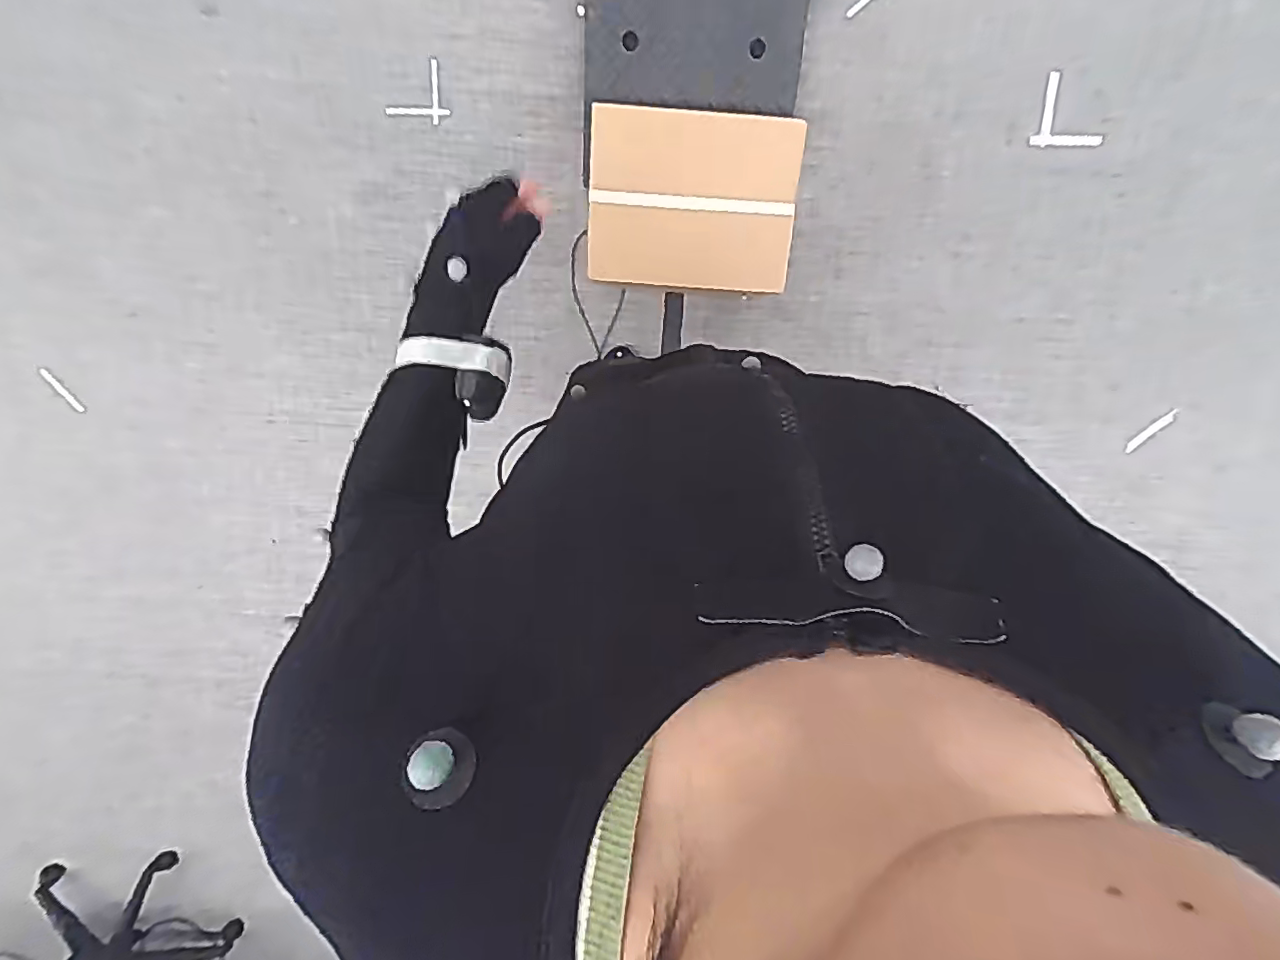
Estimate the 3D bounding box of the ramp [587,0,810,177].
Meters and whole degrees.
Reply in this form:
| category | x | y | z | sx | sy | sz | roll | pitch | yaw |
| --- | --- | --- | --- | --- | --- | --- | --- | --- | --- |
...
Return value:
| category | x | y | z | sx | sy | sz | roll | pitch | yaw |
| --- | --- | --- | --- | --- | --- | --- | --- | --- | --- |
| ramp | 0.137 | -1.186 | 1.127 | 0.509 | 0.206 | 0.991 | 1 | 104 | -1 |

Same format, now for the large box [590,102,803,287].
| category | x | y | z | sx | sy | sz | roll | pitch | yaw |
| --- | --- | --- | --- | --- | --- | --- | --- | --- | --- |
| large box | 0.107 | -0.601 | 1.203 | 0.408 | 0.320 | 0.320 | 4 | 107 | -1 |
